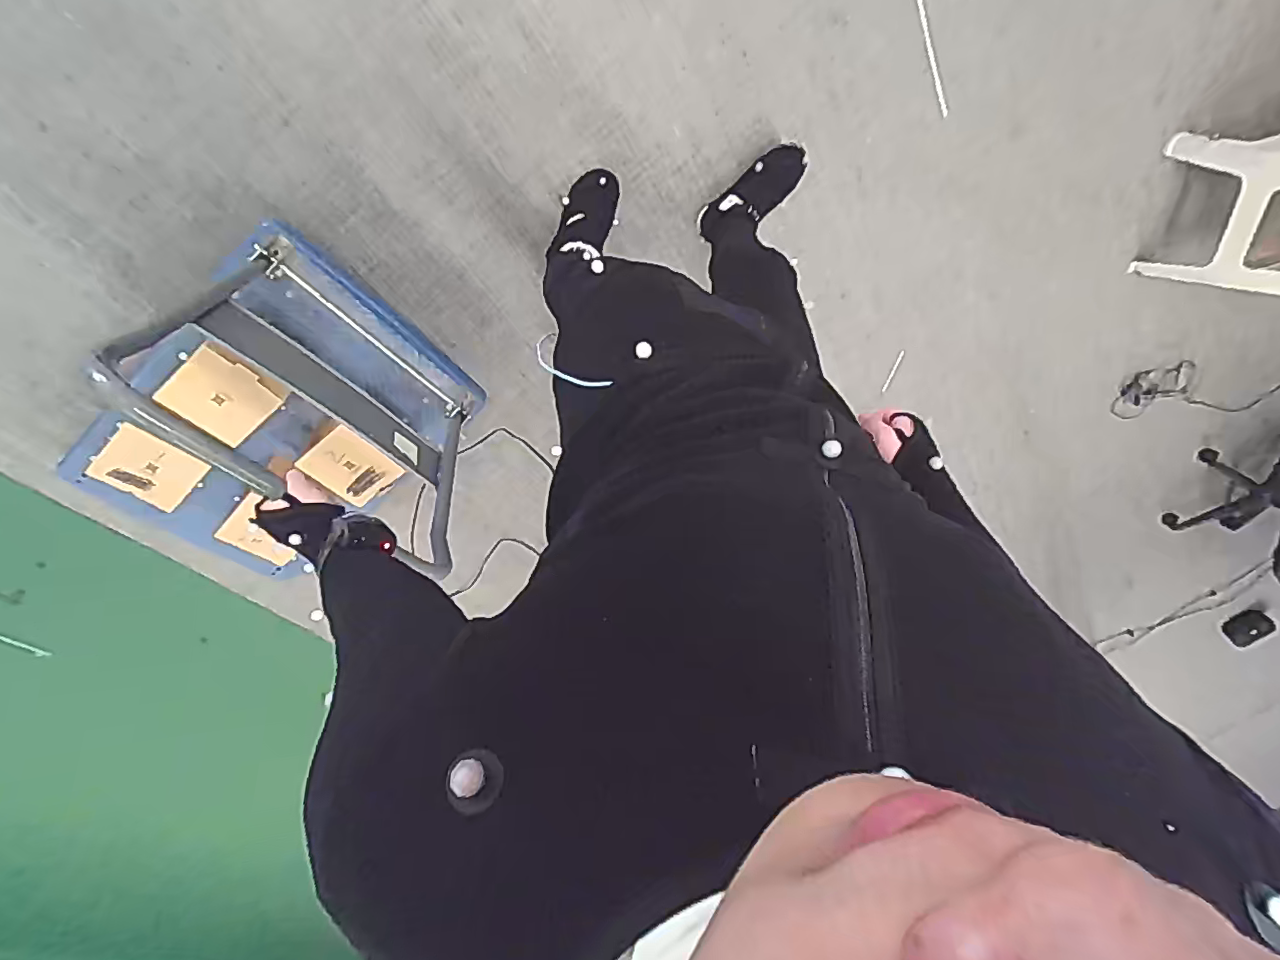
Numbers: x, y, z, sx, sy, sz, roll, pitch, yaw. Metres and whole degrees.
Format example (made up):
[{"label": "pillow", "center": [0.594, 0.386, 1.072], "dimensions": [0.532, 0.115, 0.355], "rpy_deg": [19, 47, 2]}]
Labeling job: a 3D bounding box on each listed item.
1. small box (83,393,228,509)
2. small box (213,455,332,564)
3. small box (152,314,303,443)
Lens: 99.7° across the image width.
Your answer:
[{"label": "small box", "center": [-1.056, -0.076, 1.205], "dimensions": [0.179, 0.176, 0.168], "rpy_deg": [-39, 125, 15]}, {"label": "small box", "center": [-0.901, 0.070, 1.347], "dimensions": [0.179, 0.176, 0.168], "rpy_deg": [-40, 123, 16]}, {"label": "small box", "center": [-0.859, -0.217, 1.149], "dimensions": [0.179, 0.176, 0.168], "rpy_deg": [-35, 125, 13]}]
